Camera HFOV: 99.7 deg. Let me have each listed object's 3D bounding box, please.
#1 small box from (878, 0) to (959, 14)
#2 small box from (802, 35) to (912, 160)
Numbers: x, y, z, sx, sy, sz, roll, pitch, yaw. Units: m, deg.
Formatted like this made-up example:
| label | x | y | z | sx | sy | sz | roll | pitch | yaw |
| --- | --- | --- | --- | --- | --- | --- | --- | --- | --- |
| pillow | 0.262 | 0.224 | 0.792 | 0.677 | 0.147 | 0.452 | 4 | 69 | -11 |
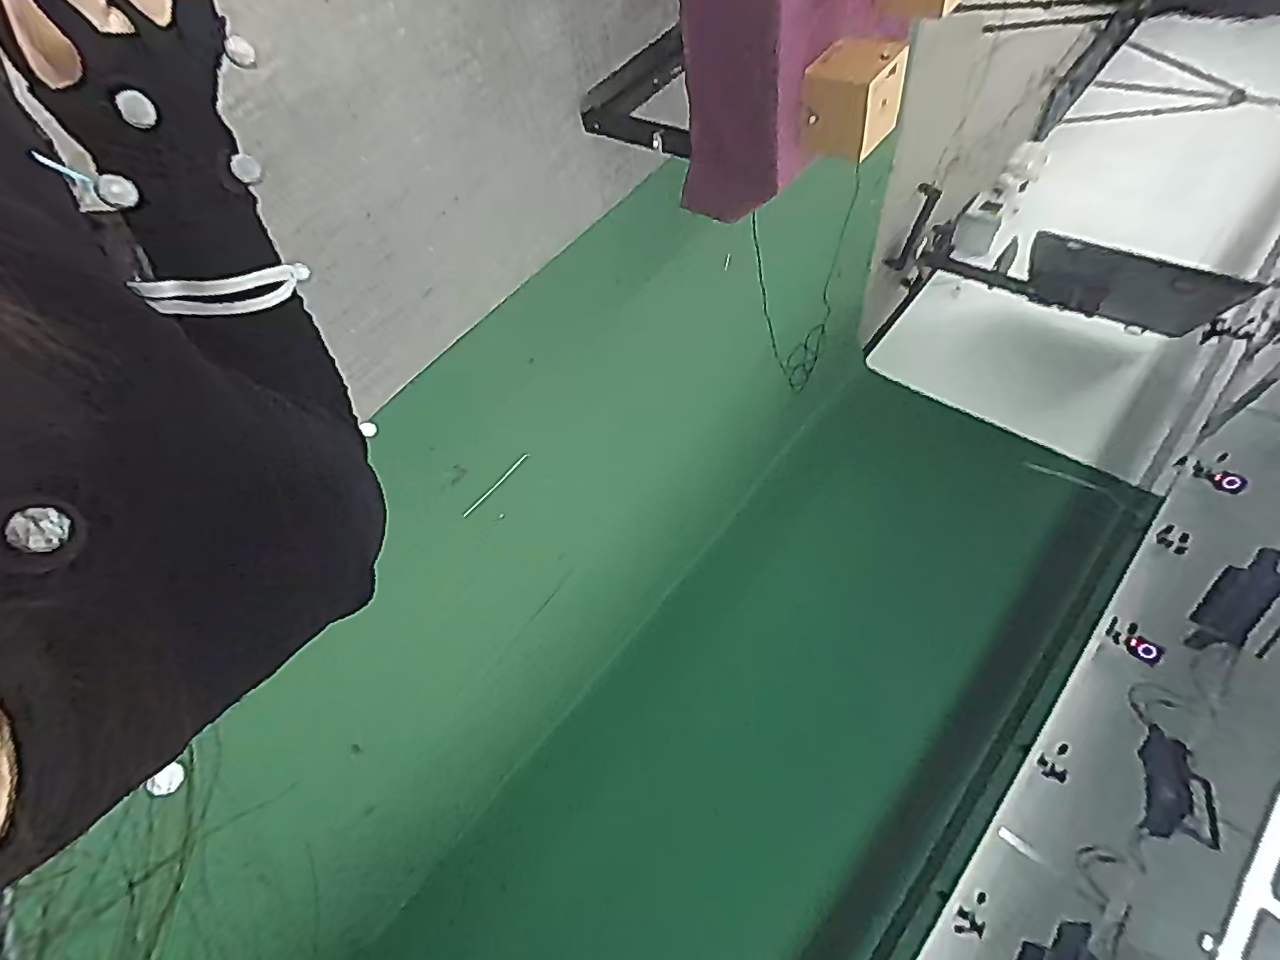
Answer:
| label | x | y | z | sx | sy | sz | roll | pitch | yaw |
| --- | --- | --- | --- | --- | --- | --- | --- | --- | --- |
| small box | 0.666 | -1.194 | 1.212 | 0.179 | 0.176 | 0.168 | -48 | 151 | -13 |
| small box | 0.497 | -0.898 | 1.266 | 0.168 | 0.176 | 0.179 | -48 | 152 | -15 |
